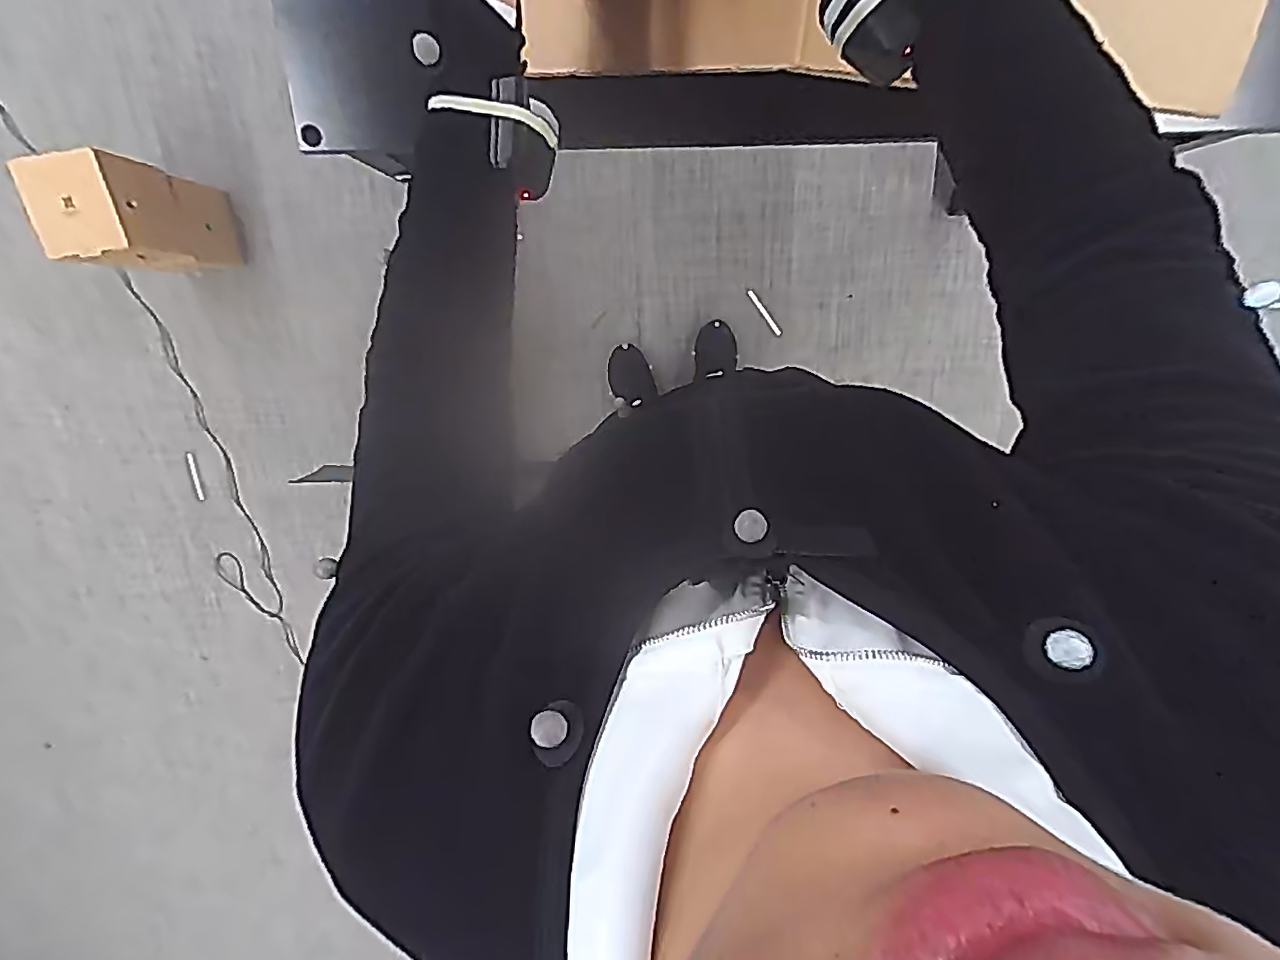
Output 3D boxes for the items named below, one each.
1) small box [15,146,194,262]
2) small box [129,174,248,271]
[{"bbox_3d":[-1.067,-0.547,1.099,0.168,0.176,0.179,-8,106,2],"label":"small box"},{"bbox_3d":[-1.064,-0.590,1.256,0.168,0.176,0.179,-5,108,2],"label":"small box"}]
